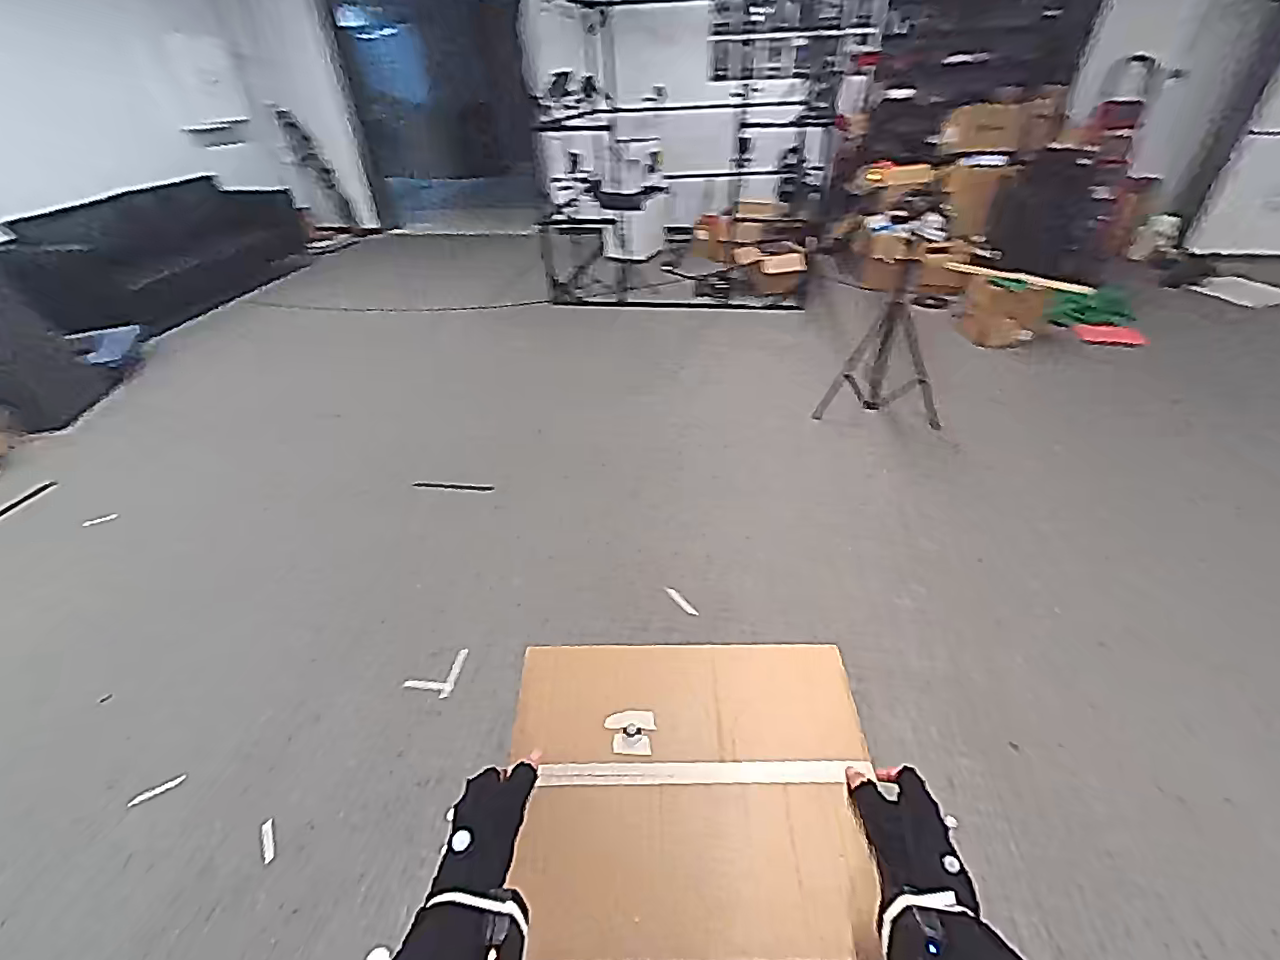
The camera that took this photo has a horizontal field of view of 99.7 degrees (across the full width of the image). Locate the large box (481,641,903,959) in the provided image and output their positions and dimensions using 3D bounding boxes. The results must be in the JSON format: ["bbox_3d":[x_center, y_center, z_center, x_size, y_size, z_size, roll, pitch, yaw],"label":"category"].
[{"bbox_3d":[0.049,0.433,0.710,0.408,0.320,0.320,-2,44,-1],"label":"large box"}]
